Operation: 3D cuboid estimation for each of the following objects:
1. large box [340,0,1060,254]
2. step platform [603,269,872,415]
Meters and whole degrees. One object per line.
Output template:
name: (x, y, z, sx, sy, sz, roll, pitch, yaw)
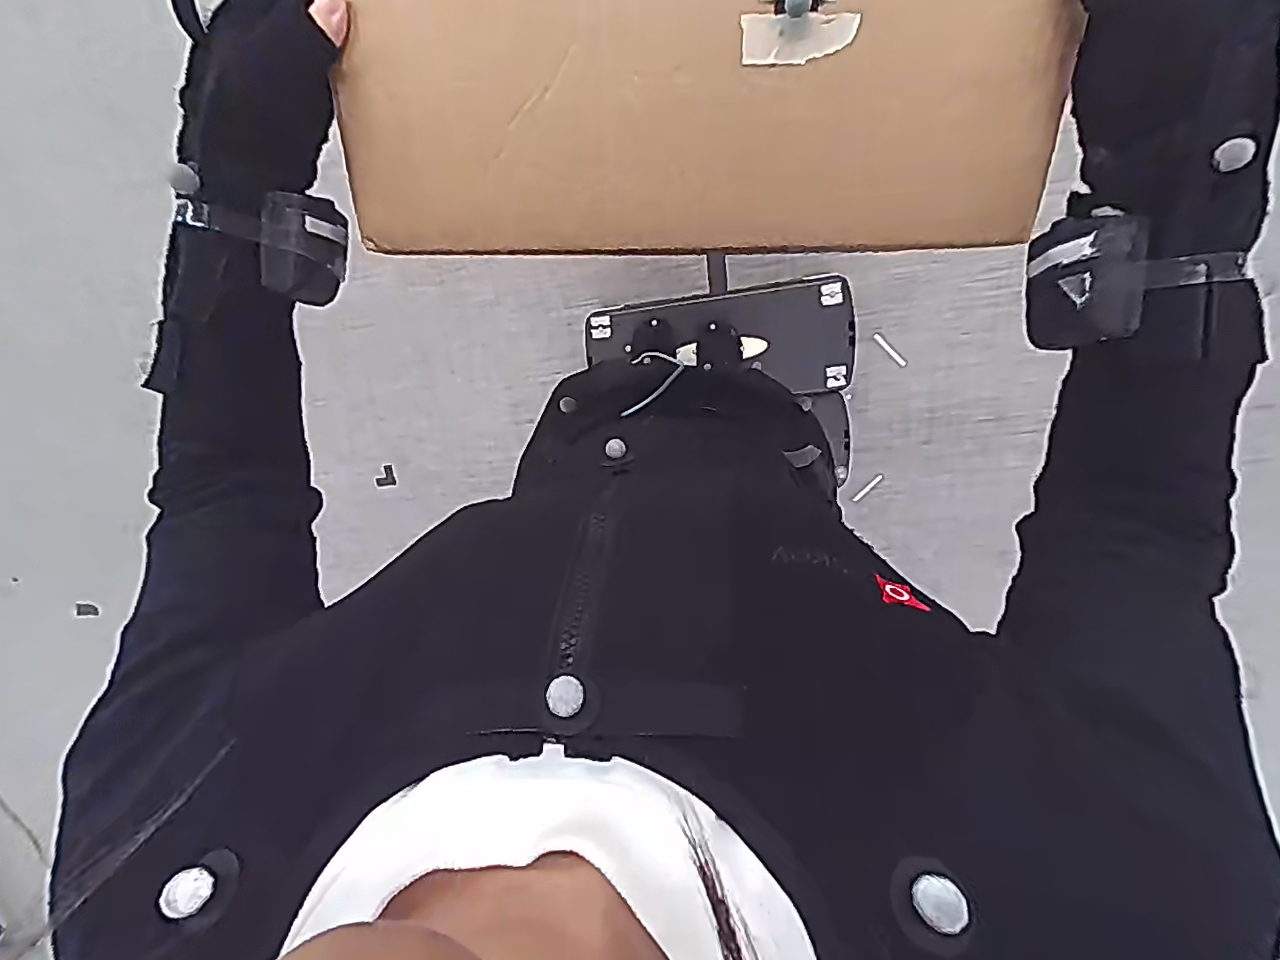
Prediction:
large box: (0.038, -0.350, 0.422, 0.408, 0.320, 0.320, 3, 113, 8)
step platform: (0.245, -0.358, 1.432, 0.684, 0.204, 0.286, -7, 107, 9)
